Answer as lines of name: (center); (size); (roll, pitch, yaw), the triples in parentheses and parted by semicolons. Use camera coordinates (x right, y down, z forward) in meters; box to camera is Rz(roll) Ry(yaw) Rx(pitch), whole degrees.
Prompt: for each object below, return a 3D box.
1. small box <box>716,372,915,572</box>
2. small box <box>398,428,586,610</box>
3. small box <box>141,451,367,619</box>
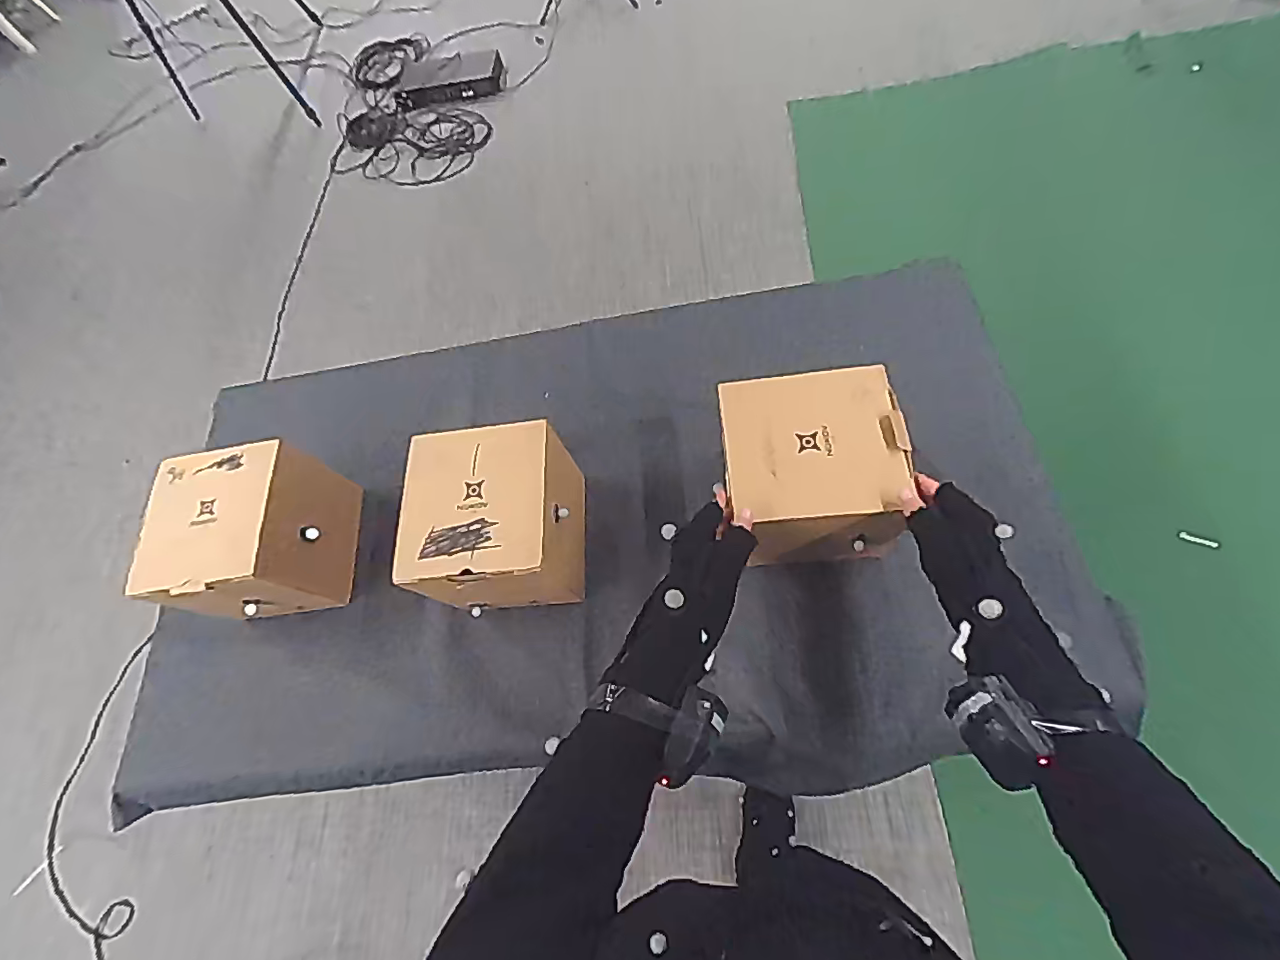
small box: (0.188, 0.001, 0.626); (0.179, 0.176, 0.168); (-8, 64, 9)
small box: (-0.167, 0.059, 0.668); (0.168, 0.176, 0.179); (-7, 65, 8)
small box: (-0.493, 0.084, 0.720); (0.168, 0.176, 0.179); (-9, 66, 7)
